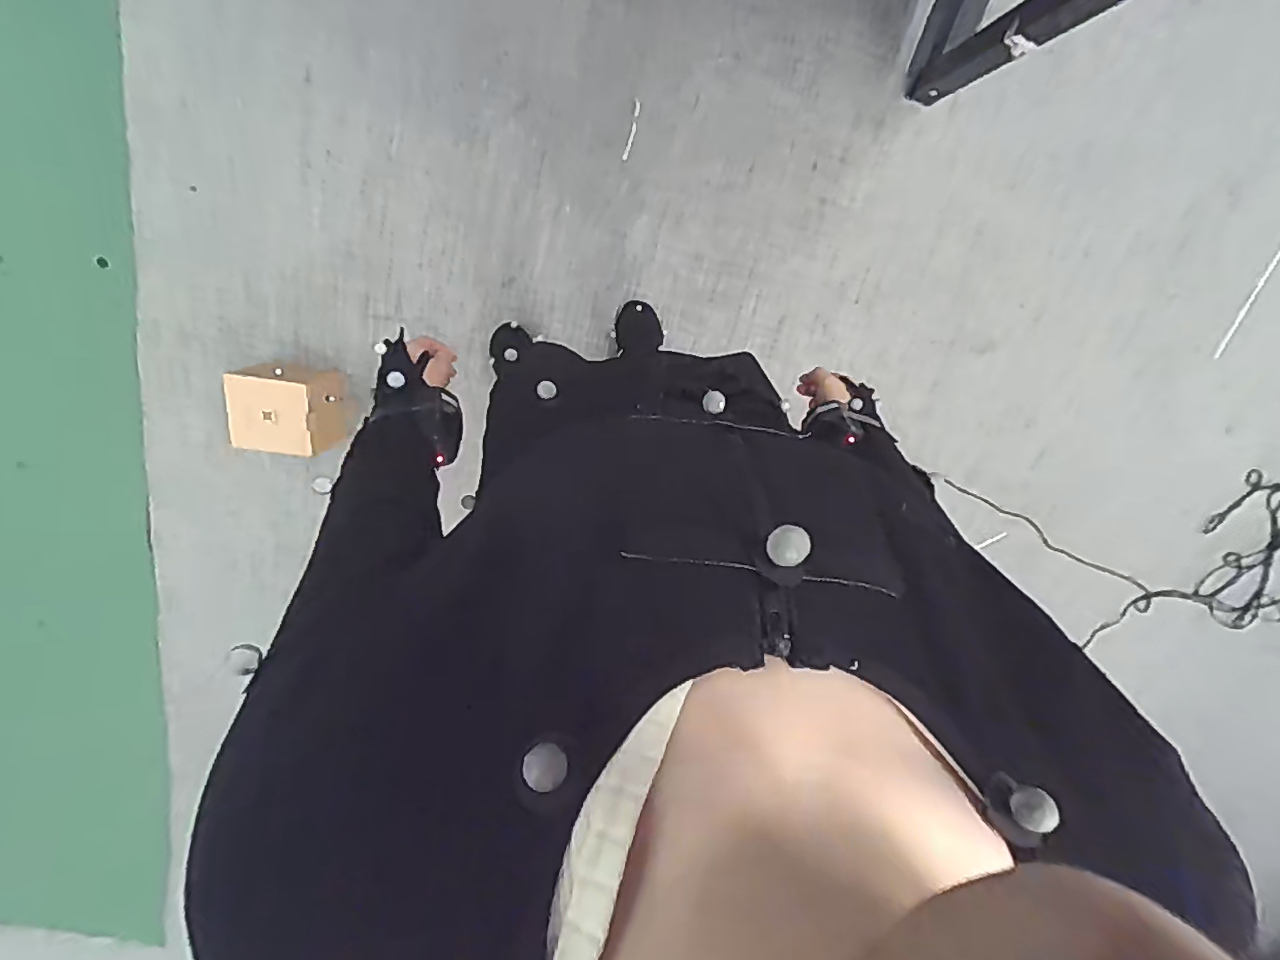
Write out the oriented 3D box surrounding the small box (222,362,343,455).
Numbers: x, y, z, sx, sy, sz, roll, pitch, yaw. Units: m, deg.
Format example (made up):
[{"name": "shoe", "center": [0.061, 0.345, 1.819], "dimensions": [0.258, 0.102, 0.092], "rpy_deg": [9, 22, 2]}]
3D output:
[{"name": "small box", "center": [-0.801, -0.169, 1.236], "dimensions": [0.179, 0.176, 0.168], "rpy_deg": [7, 110, -4]}]
